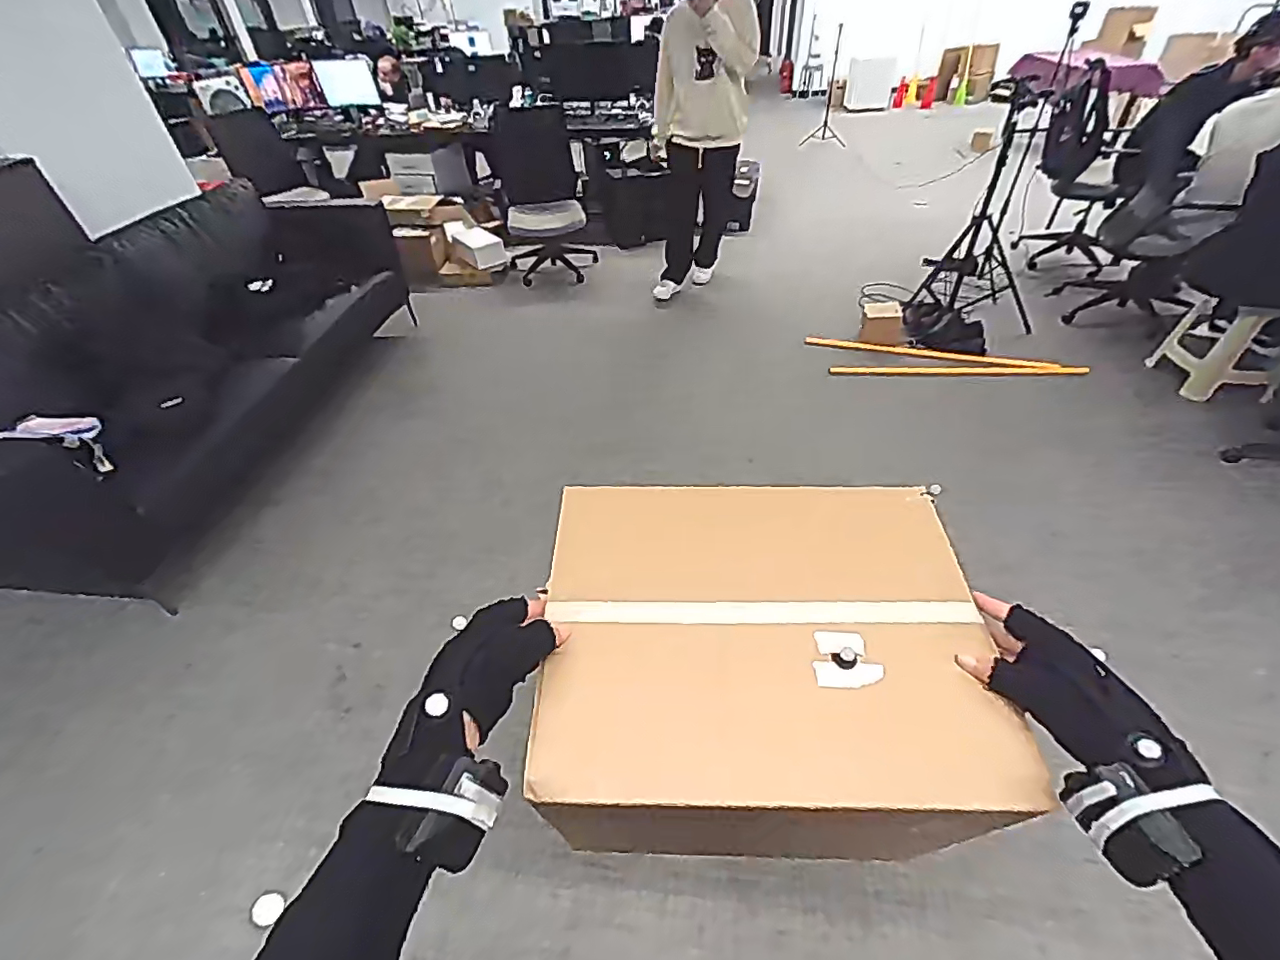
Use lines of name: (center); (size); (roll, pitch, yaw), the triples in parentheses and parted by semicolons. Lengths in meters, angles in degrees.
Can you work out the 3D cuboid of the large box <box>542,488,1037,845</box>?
large box: (0.118, 0.223, 0.635); (0.408, 0.320, 0.320); (0, 50, 1)
